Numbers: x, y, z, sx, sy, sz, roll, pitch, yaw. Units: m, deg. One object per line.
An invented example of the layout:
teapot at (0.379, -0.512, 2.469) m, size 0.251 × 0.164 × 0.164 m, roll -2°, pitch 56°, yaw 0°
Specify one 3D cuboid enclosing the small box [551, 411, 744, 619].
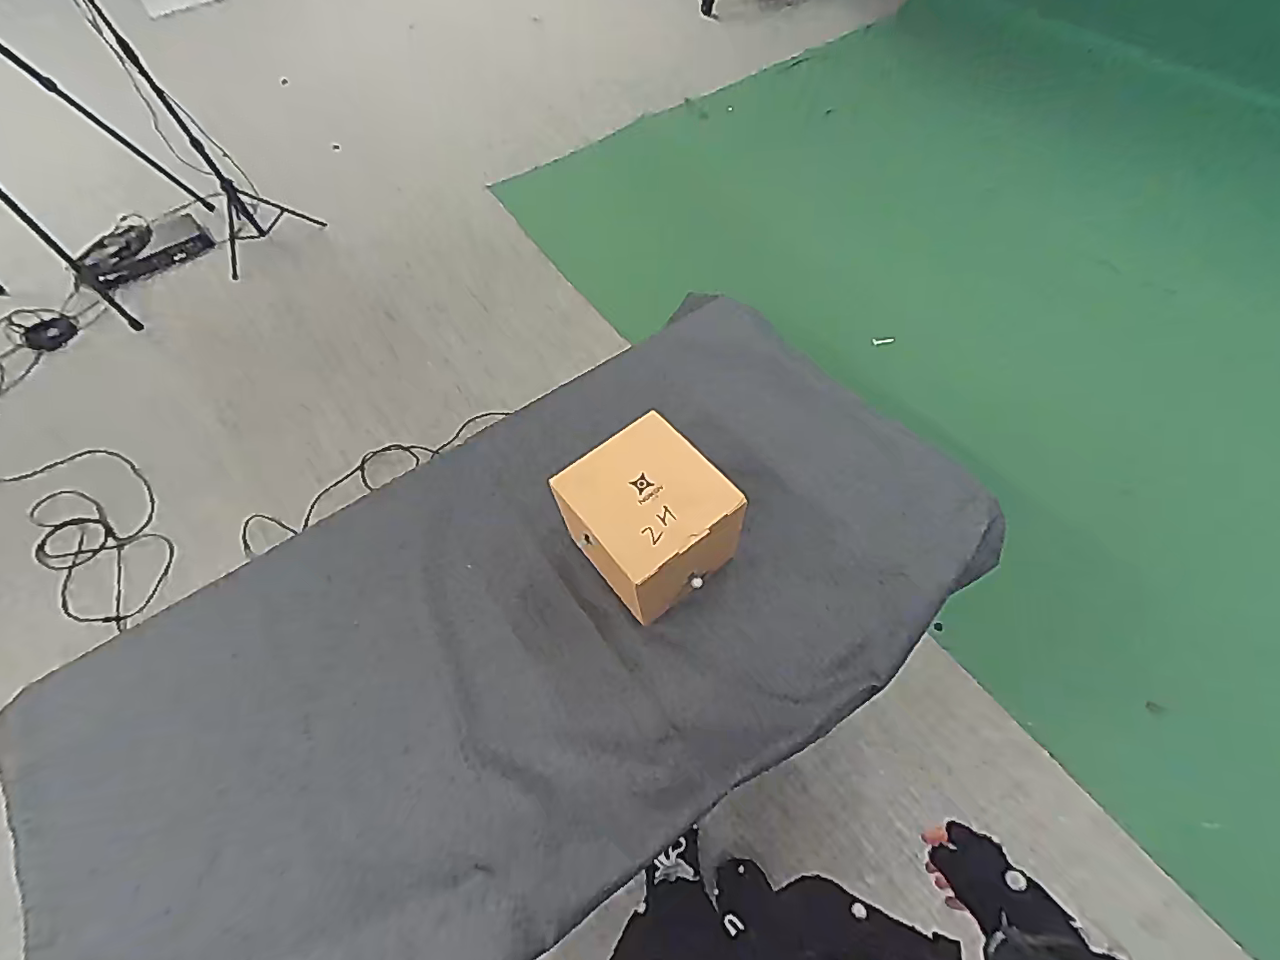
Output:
small box at (0.010, 0.051, 0.705) m, size 0.168 × 0.176 × 0.179 m, roll -35°, pitch 64°, yaw -16°
